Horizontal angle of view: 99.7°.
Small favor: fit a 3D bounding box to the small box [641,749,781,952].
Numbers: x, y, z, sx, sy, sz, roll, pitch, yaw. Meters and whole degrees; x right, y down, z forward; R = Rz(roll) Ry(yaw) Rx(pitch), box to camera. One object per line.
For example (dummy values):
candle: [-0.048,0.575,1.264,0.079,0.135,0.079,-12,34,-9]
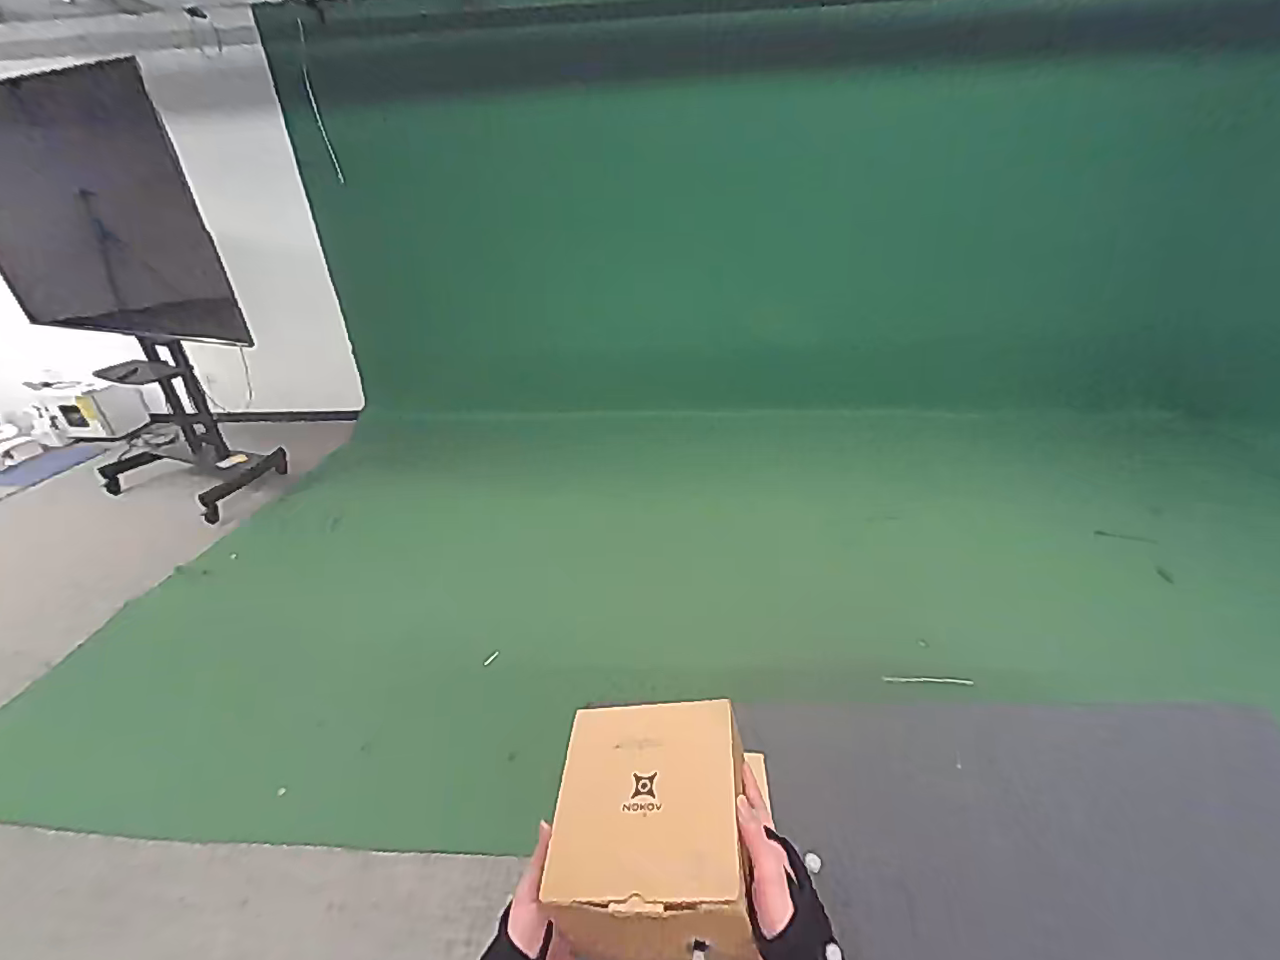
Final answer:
small box: [0.093,0.503,0.739,0.168,0.176,0.179,1,30,5]
